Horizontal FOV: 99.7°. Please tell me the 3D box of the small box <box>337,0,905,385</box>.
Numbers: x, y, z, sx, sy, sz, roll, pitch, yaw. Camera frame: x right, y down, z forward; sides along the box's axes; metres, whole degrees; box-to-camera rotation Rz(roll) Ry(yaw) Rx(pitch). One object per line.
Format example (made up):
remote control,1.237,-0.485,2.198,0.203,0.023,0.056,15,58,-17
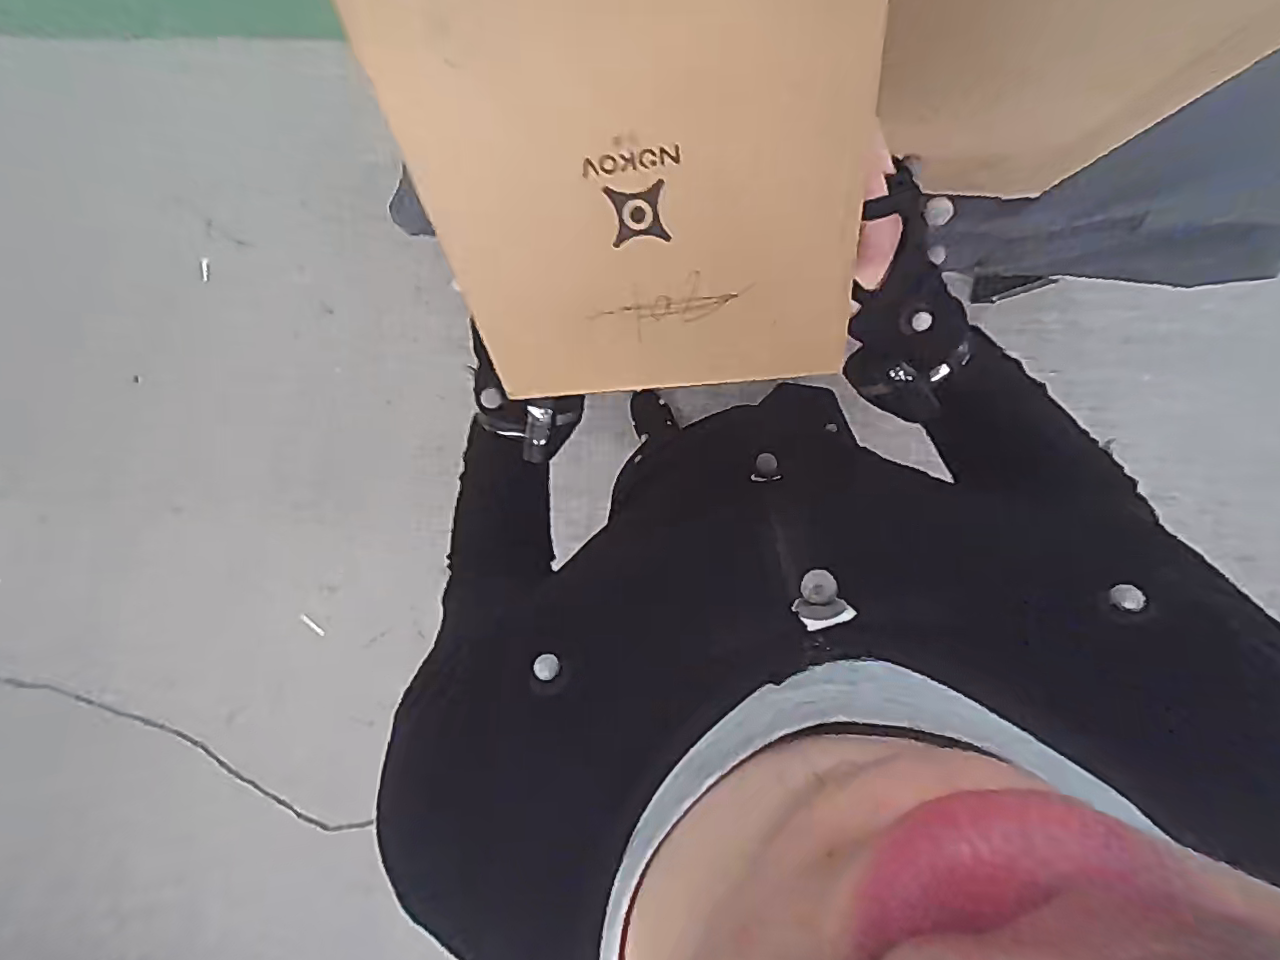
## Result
small box,0.005,-0.168,0.243,0.168,0.176,0.179,-3,139,10
